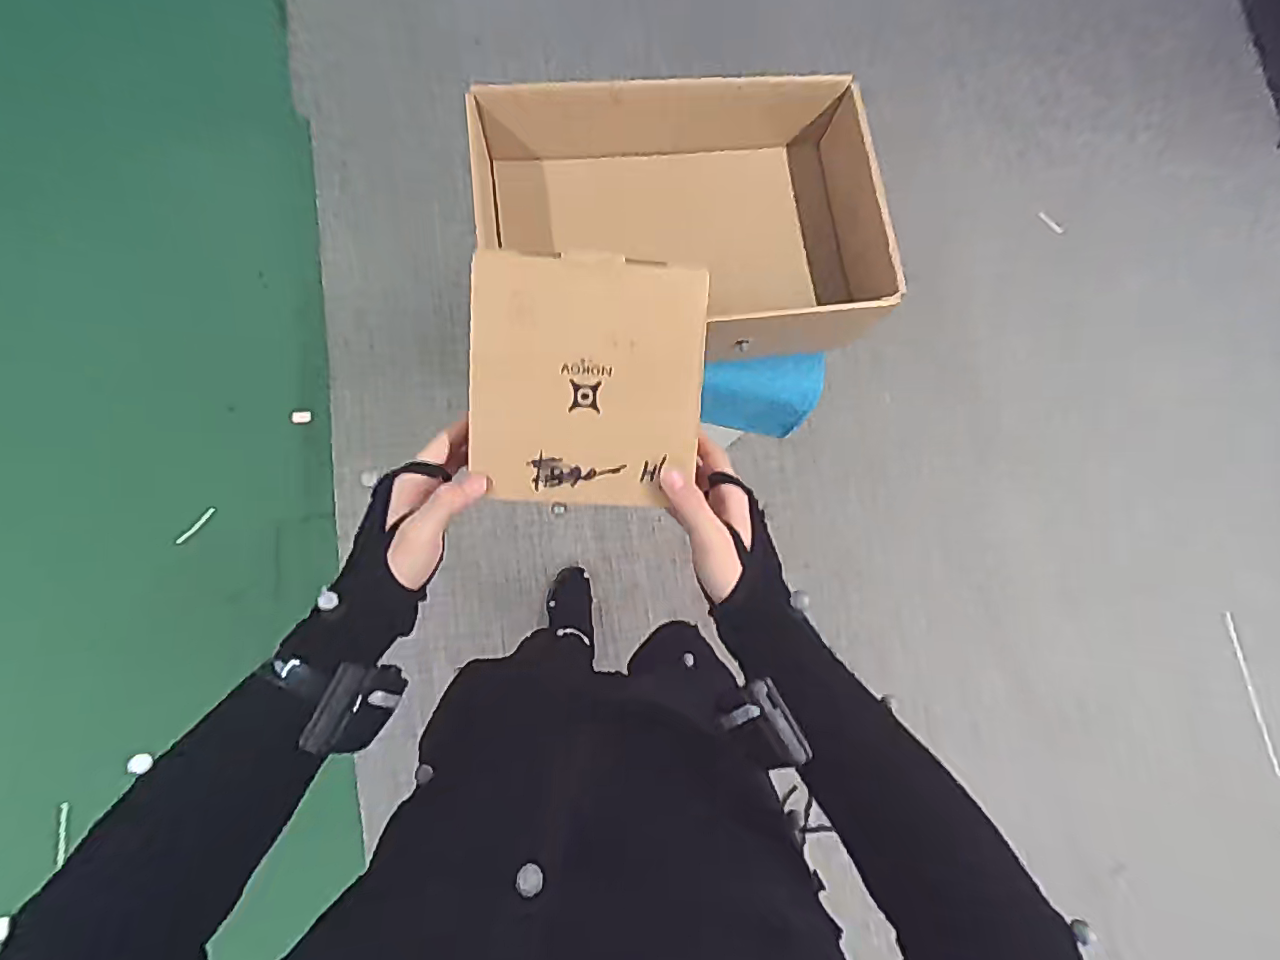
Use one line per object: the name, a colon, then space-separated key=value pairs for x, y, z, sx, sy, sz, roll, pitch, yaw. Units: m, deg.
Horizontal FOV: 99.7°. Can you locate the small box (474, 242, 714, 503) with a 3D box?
small box: x=-0.038 y=-0.084 z=0.466 sx=0.168 sy=0.176 sz=0.179 roll=3 pitch=98 yaw=-2
